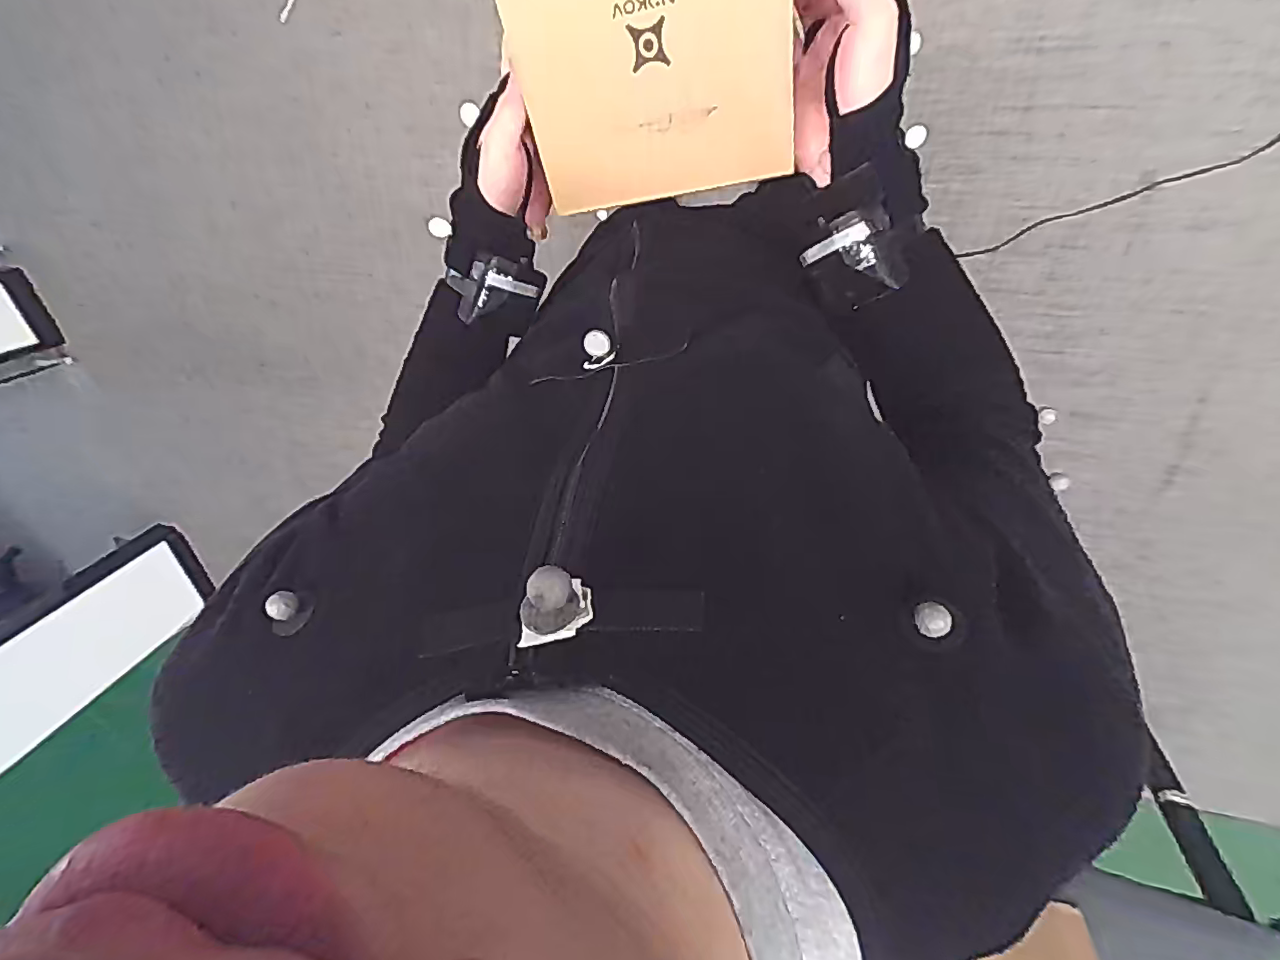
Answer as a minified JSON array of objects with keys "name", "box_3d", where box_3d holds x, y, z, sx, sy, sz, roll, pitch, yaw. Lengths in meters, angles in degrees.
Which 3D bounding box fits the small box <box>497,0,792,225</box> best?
[{"name":"small box","box_3d":[0.012,-0.306,0.375,0.168,0.176,0.179,-3,135,12]}]
